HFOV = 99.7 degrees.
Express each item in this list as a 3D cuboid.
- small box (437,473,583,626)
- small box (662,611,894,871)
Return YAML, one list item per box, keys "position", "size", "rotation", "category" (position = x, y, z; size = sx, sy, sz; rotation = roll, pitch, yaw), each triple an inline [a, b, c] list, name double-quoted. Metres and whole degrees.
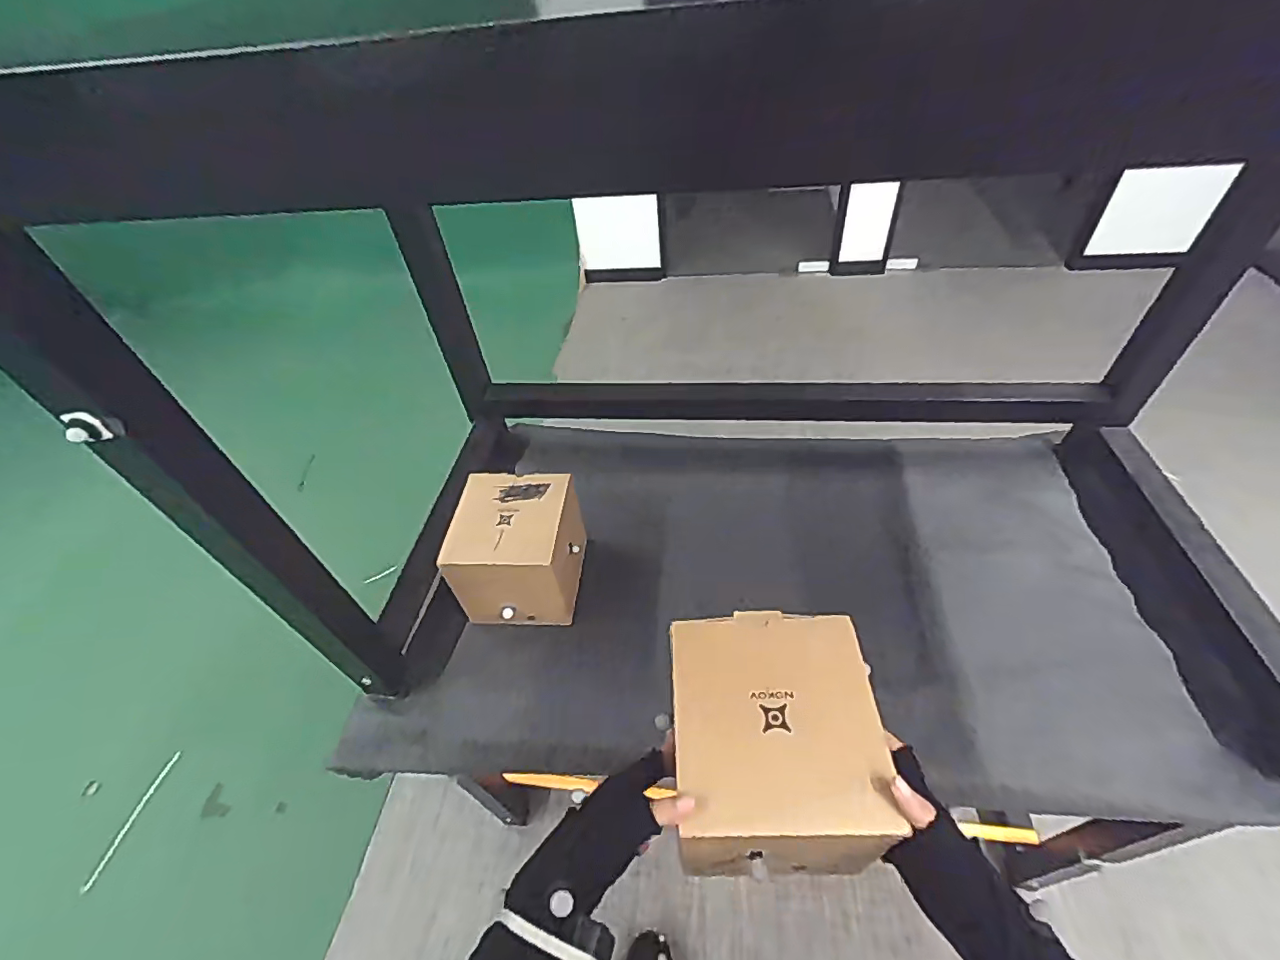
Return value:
- position: [-0.190, 0.108, 0.853]
  size: [0.168, 0.176, 0.179]
  rotation: [0, 47, 7]
  category: "small box"
- position: [0.107, 0.241, 0.496]
  size: [0.168, 0.176, 0.179]
  rotation: [-3, 45, 4]
  category: "small box"
